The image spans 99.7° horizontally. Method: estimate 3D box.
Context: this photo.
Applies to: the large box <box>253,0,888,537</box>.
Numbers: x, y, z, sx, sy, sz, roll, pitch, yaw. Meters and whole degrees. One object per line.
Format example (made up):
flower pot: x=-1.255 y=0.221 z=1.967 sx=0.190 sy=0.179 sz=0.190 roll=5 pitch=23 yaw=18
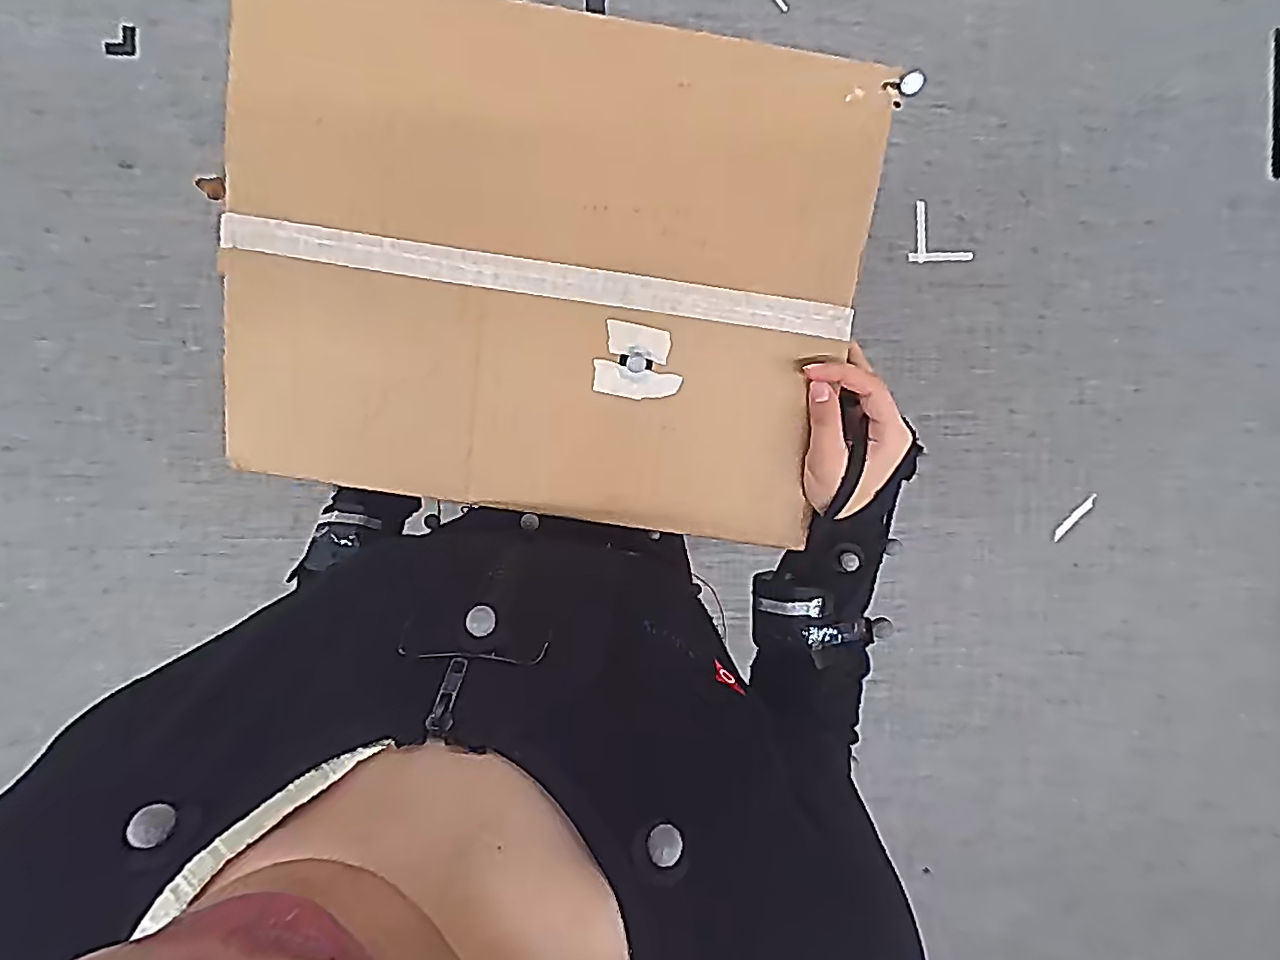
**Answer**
large box: x=-0.059 y=-0.153 z=0.509 sx=0.408 sy=0.320 sz=0.320 roll=8 pitch=100 yaw=-3
